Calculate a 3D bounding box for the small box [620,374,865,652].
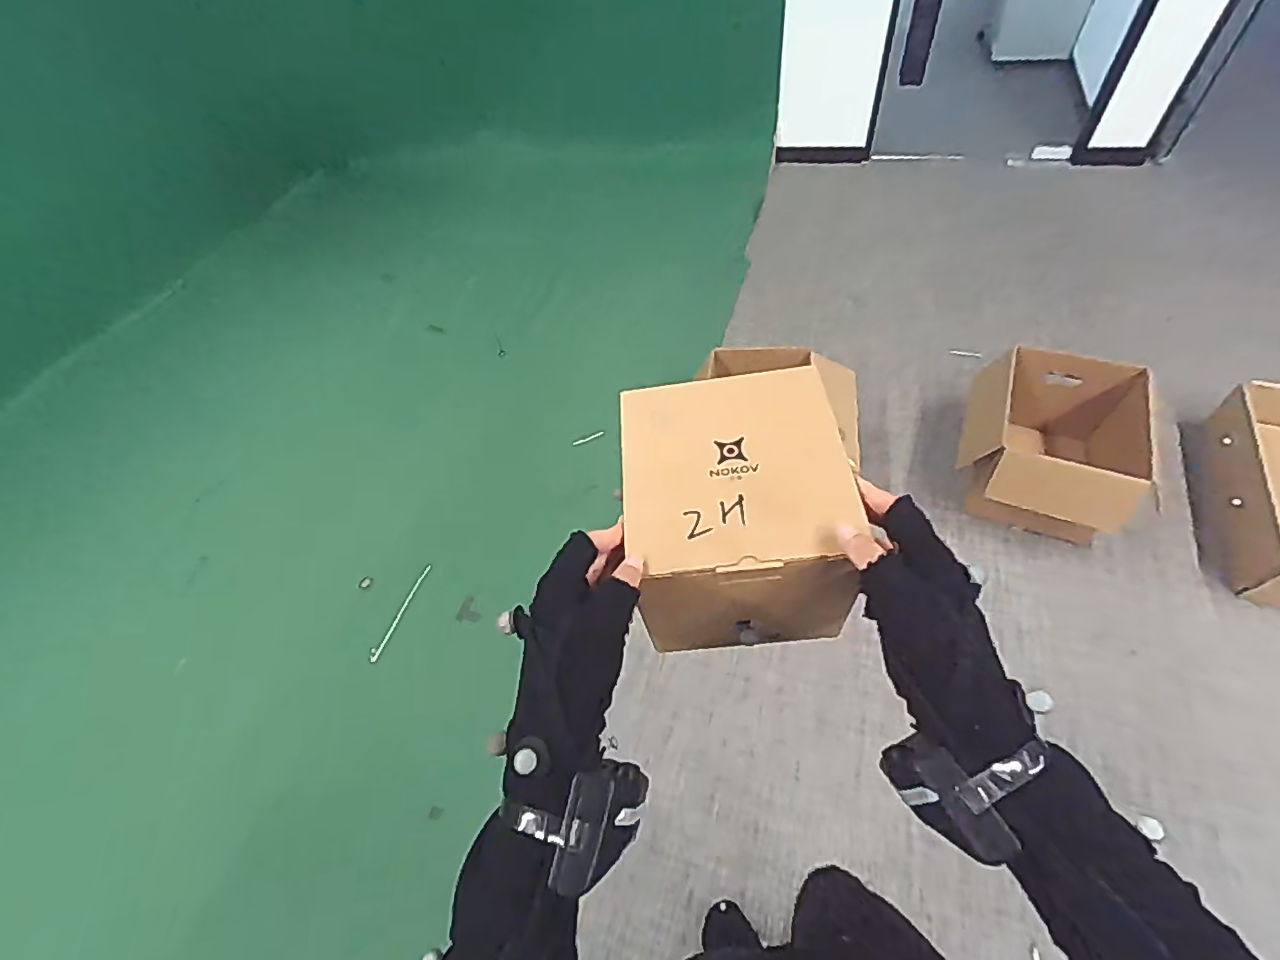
[{"bbox_3d":[0.077,0.035,0.474,0.168,0.176,0.179,-6,55,6],"label":"small box"}]
